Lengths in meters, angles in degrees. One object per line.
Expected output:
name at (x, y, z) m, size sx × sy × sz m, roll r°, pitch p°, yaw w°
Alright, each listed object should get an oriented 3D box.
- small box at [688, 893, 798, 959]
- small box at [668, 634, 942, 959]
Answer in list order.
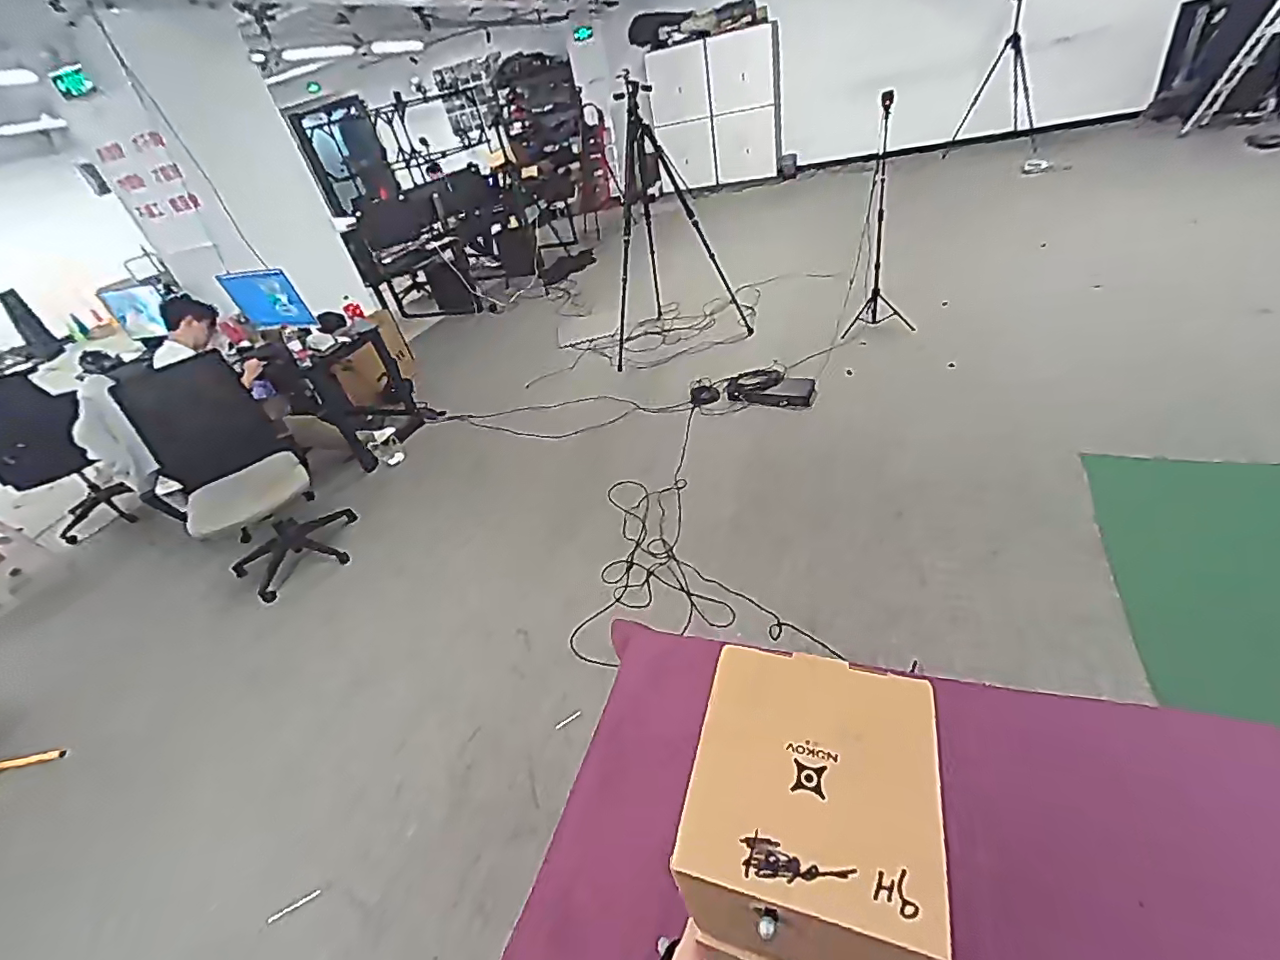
small box at (0.158, 0.387, 0.532) m, size 0.168 × 0.176 × 0.179 m, roll 6°, pitch 42°, yaw 22°
small box at (0.133, 0.257, 0.435) m, size 0.168 × 0.176 × 0.179 m, roll 4°, pitch 42°, yaw 21°
